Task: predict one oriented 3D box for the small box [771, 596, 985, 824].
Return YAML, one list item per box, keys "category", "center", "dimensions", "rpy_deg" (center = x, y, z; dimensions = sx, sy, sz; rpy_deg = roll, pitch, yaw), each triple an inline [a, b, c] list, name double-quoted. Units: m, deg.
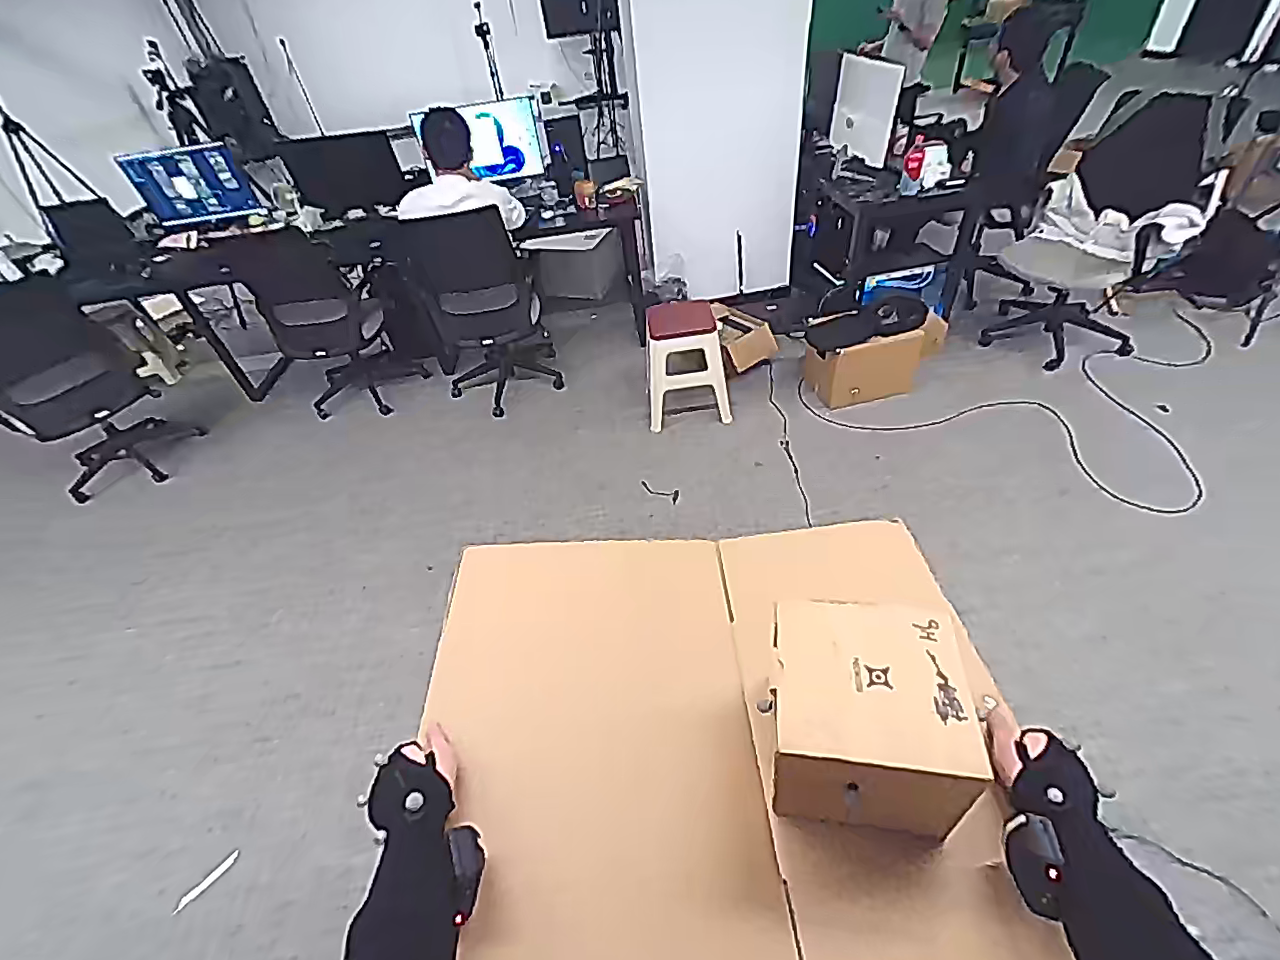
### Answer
- category: "small box"
  center: [0.234, 0.244, 0.579]
  dimensions: [0.179, 0.176, 0.168]
  rpy_deg: [0, 44, 14]
